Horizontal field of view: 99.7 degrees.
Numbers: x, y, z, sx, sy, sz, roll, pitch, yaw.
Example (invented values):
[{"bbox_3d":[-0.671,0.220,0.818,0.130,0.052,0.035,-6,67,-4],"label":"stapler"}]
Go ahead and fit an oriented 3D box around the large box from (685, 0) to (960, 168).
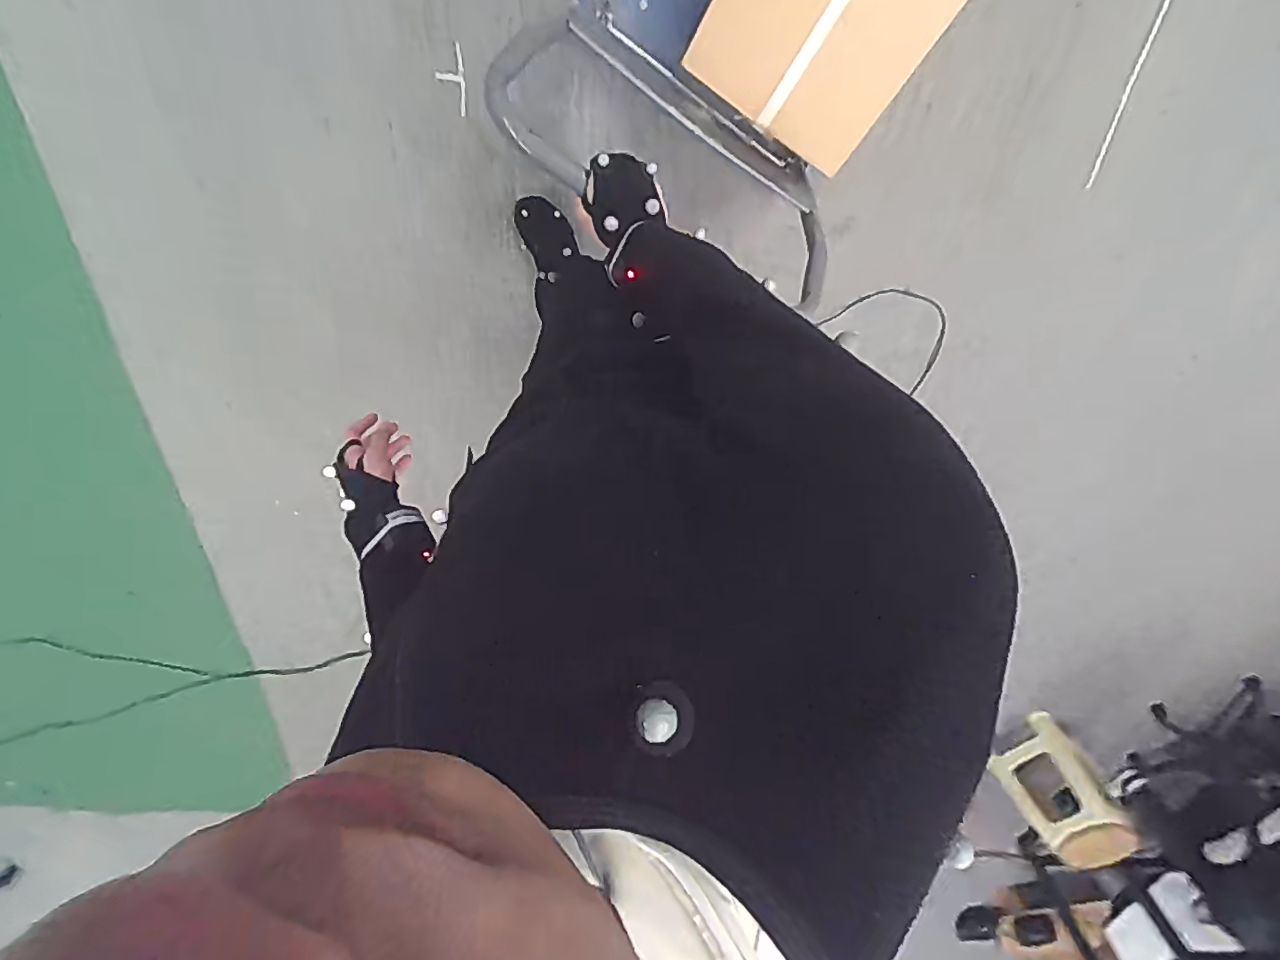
[{"bbox_3d":[0.311,-0.810,0.870,0.320,0.320,0.408,28,130,-16],"label":"large box"}]
